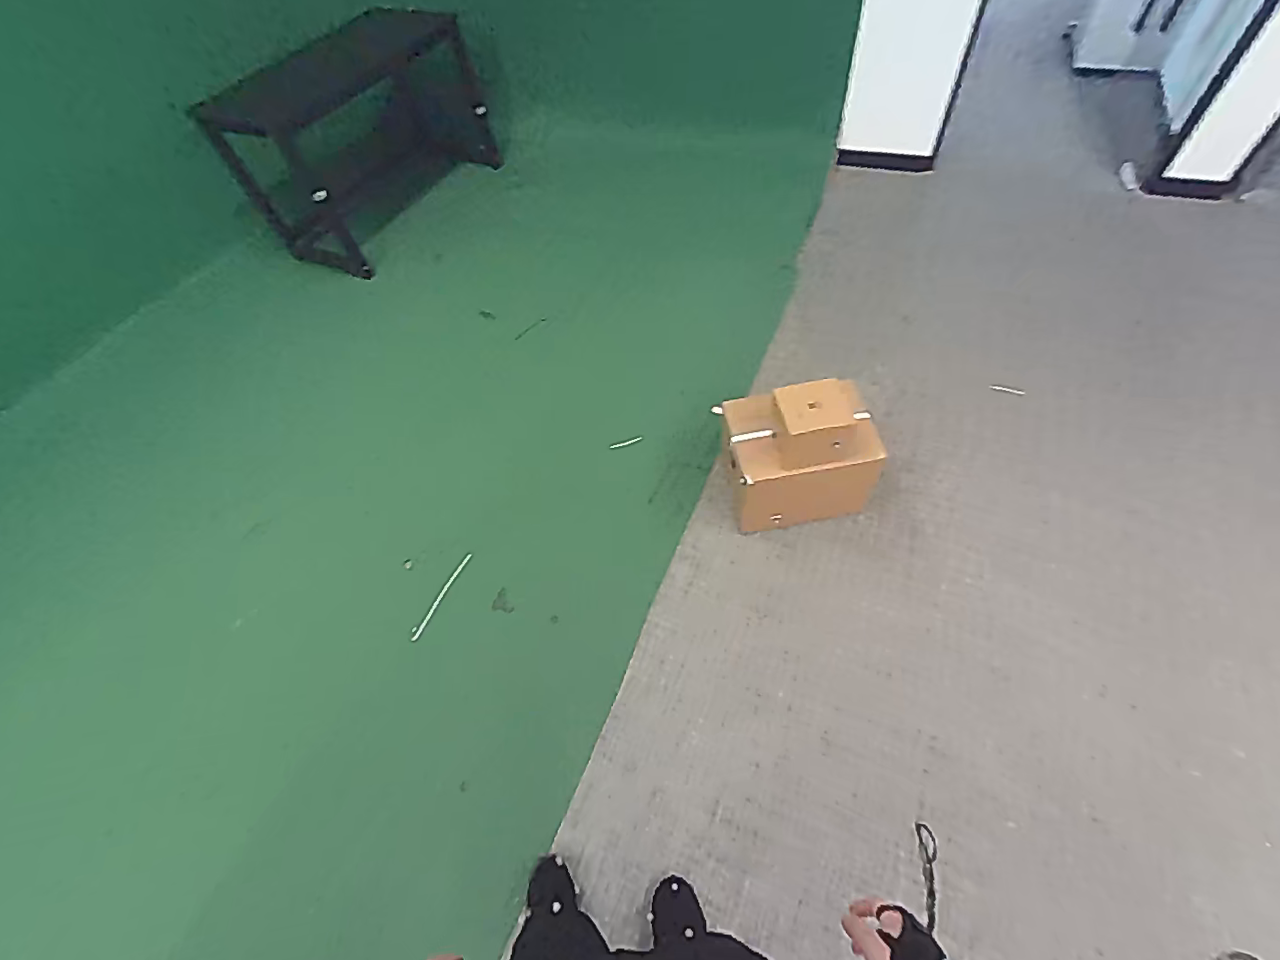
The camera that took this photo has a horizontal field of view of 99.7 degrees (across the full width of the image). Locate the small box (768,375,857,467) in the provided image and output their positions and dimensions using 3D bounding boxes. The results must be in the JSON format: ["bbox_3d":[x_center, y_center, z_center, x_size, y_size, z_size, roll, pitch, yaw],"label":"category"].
[{"bbox_3d":[0.460,-0.157,1.470,0.179,0.176,0.168,-10,56,1],"label":"small box"}]
